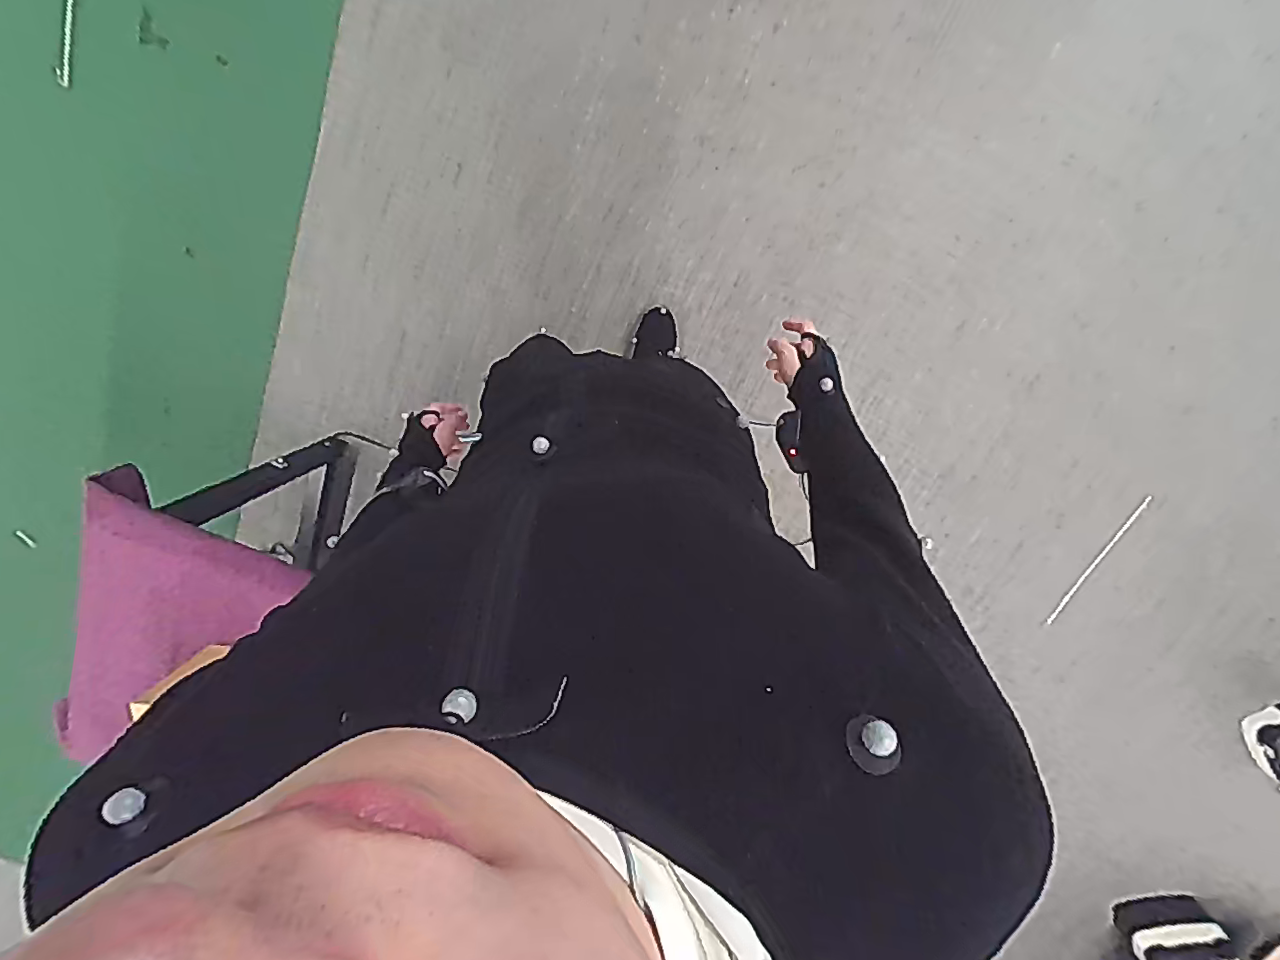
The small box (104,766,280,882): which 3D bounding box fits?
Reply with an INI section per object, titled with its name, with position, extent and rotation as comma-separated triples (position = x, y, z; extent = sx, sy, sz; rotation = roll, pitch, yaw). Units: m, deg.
[small box]
position = -0.862, 0.636, 1.060
extent = 0.168, 0.176, 0.179
rotation = -11, 108, 7
